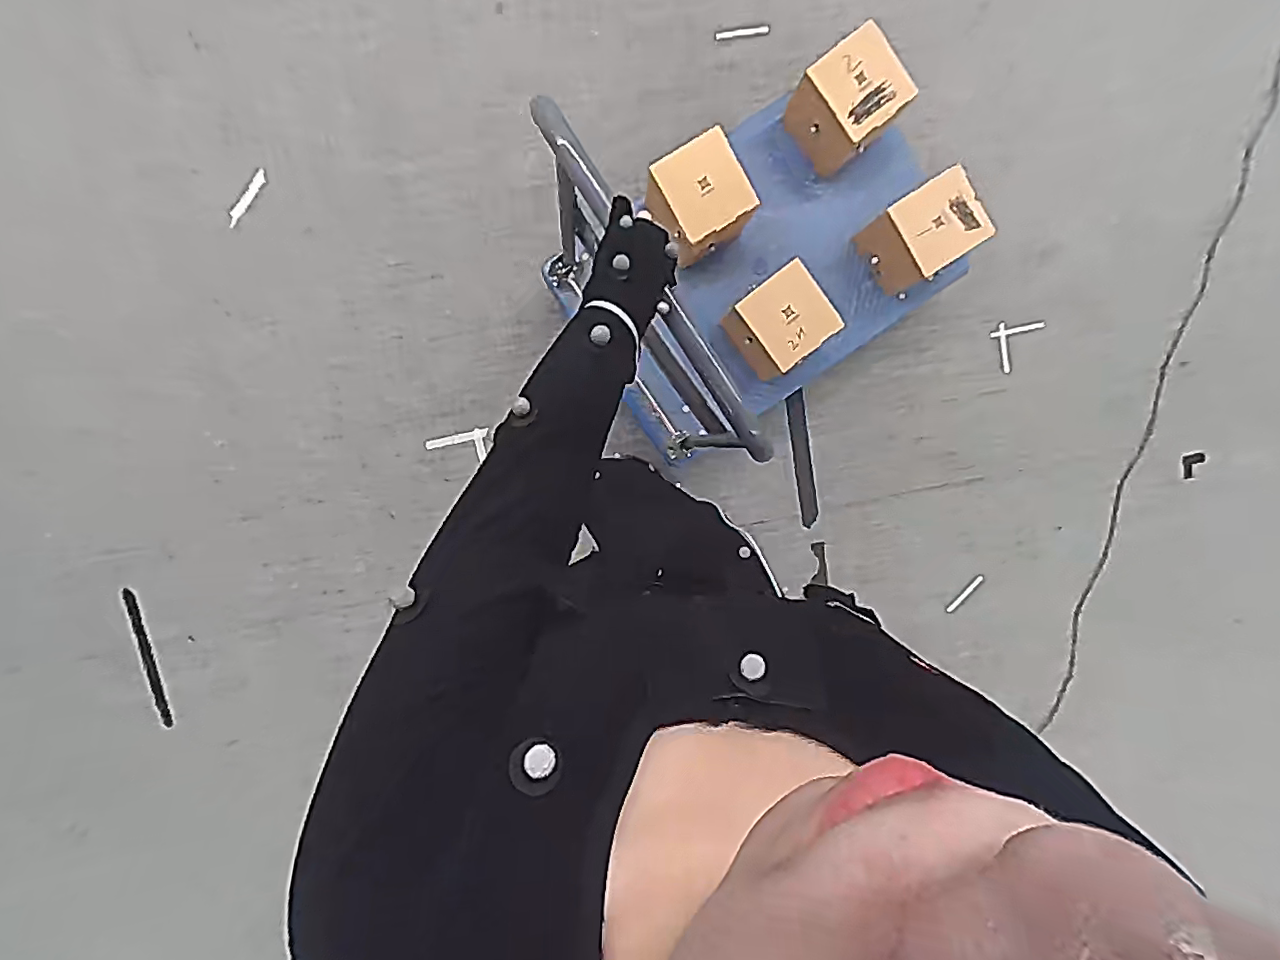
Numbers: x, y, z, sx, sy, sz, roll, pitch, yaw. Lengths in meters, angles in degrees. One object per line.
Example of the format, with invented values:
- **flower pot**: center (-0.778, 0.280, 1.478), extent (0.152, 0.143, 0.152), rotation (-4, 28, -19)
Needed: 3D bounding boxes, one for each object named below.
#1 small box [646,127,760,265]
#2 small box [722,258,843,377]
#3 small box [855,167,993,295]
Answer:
- **small box**: center (0.125, -0.597, 1.161), extent (0.168, 0.176, 0.179), rotation (-31, 98, 0)
- **small box**: center (0.304, -0.346, 1.194), extent (0.168, 0.176, 0.179), rotation (-37, 96, 1)
- **small box**: center (0.615, -0.539, 1.192), extent (0.179, 0.176, 0.168), rotation (-32, 96, 1)
